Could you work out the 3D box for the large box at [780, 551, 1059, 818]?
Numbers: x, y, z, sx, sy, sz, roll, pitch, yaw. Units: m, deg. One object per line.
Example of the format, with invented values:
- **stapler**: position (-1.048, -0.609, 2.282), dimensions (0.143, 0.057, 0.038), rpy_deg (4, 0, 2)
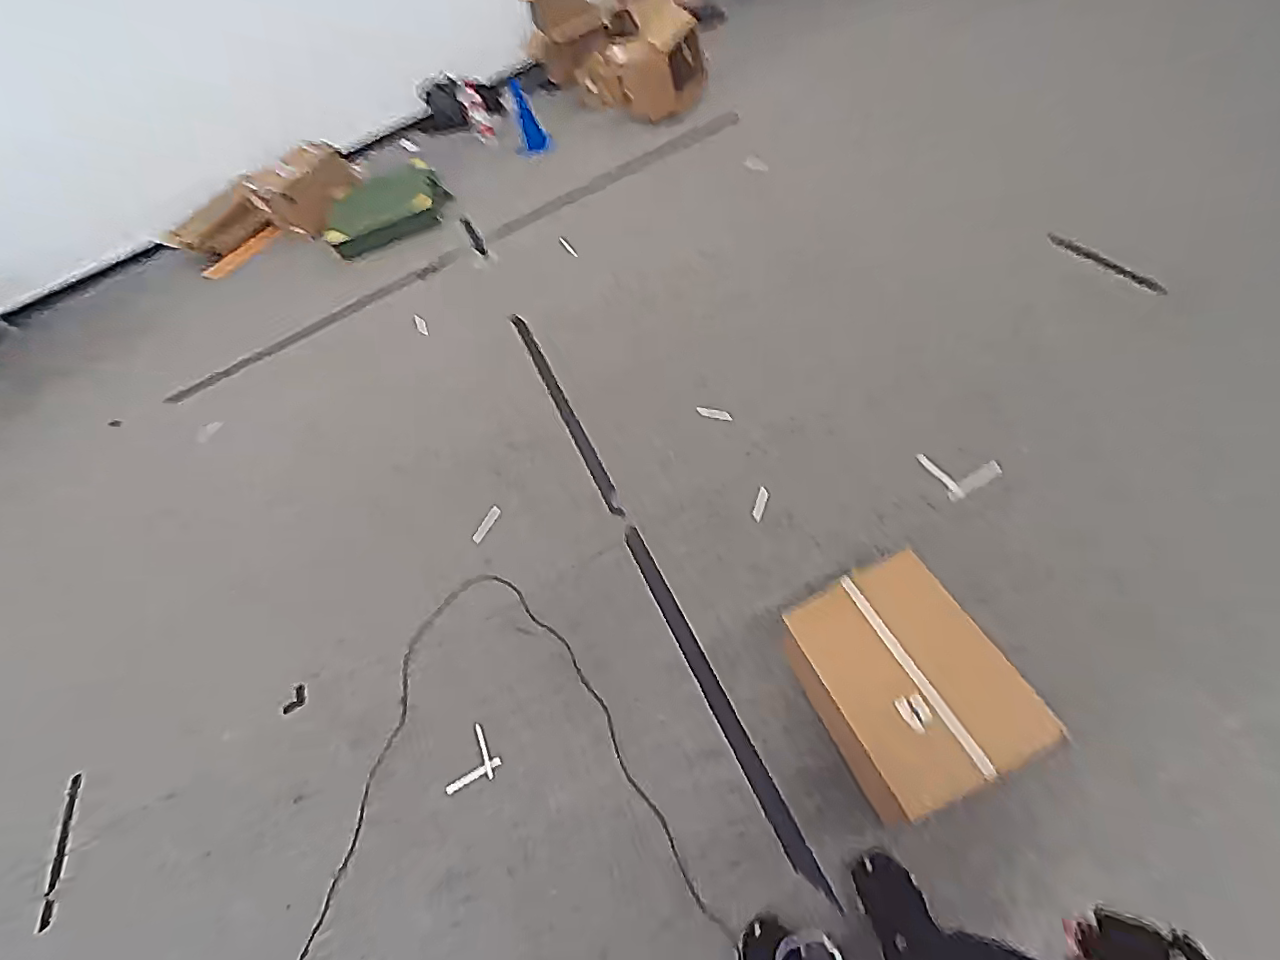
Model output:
- **large box**: position (0.539, 0.436, 1.153), dimensions (0.320, 0.320, 0.408), rpy_deg (-28, 55, -3)
